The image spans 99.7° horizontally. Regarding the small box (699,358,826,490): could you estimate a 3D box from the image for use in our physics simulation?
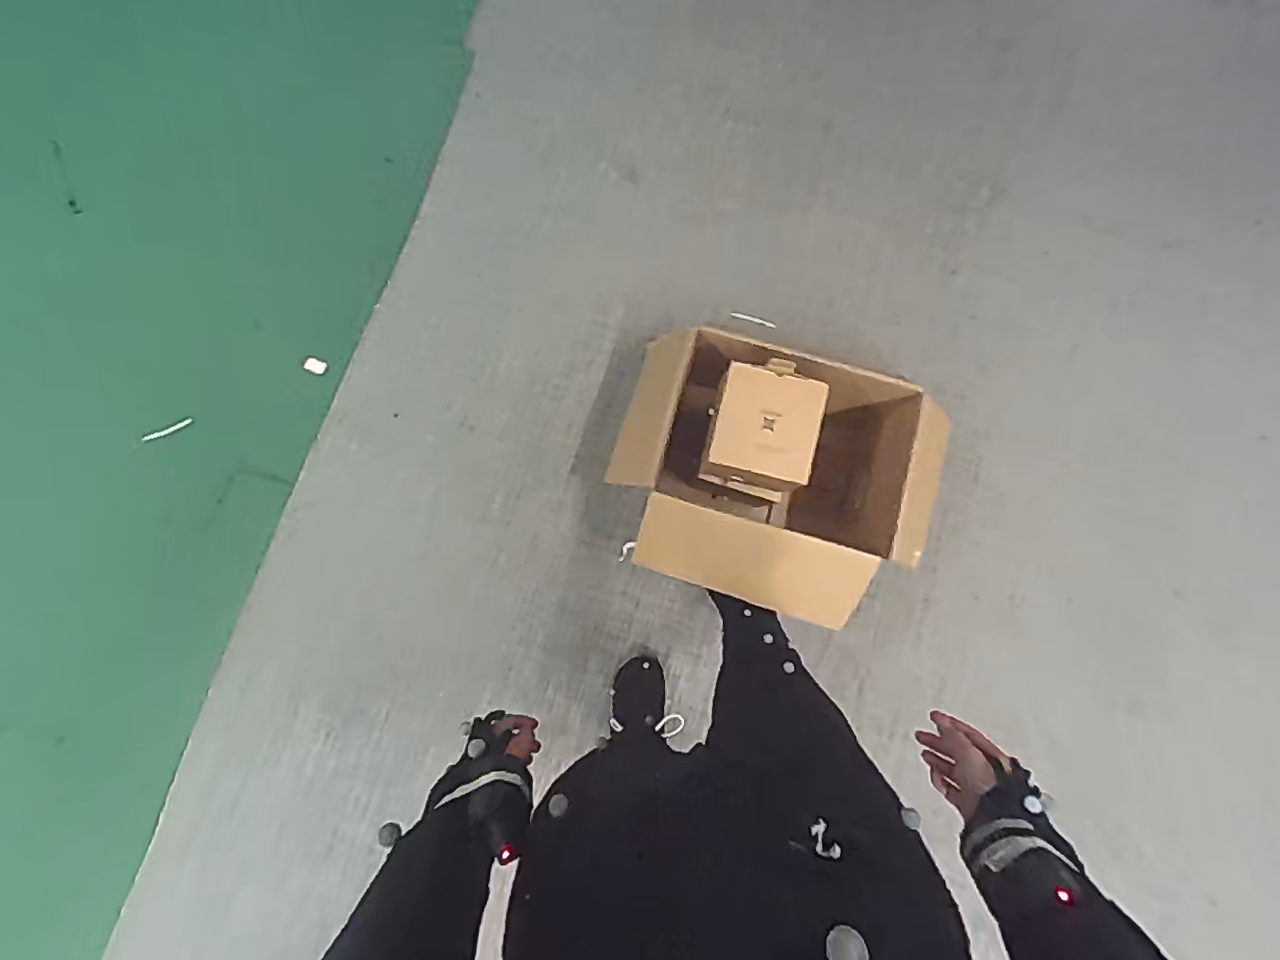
[{"bbox_3d":[0.206,-0.089,0.957,0.168,0.176,0.179,14,84,2],"label":"small box"}]
